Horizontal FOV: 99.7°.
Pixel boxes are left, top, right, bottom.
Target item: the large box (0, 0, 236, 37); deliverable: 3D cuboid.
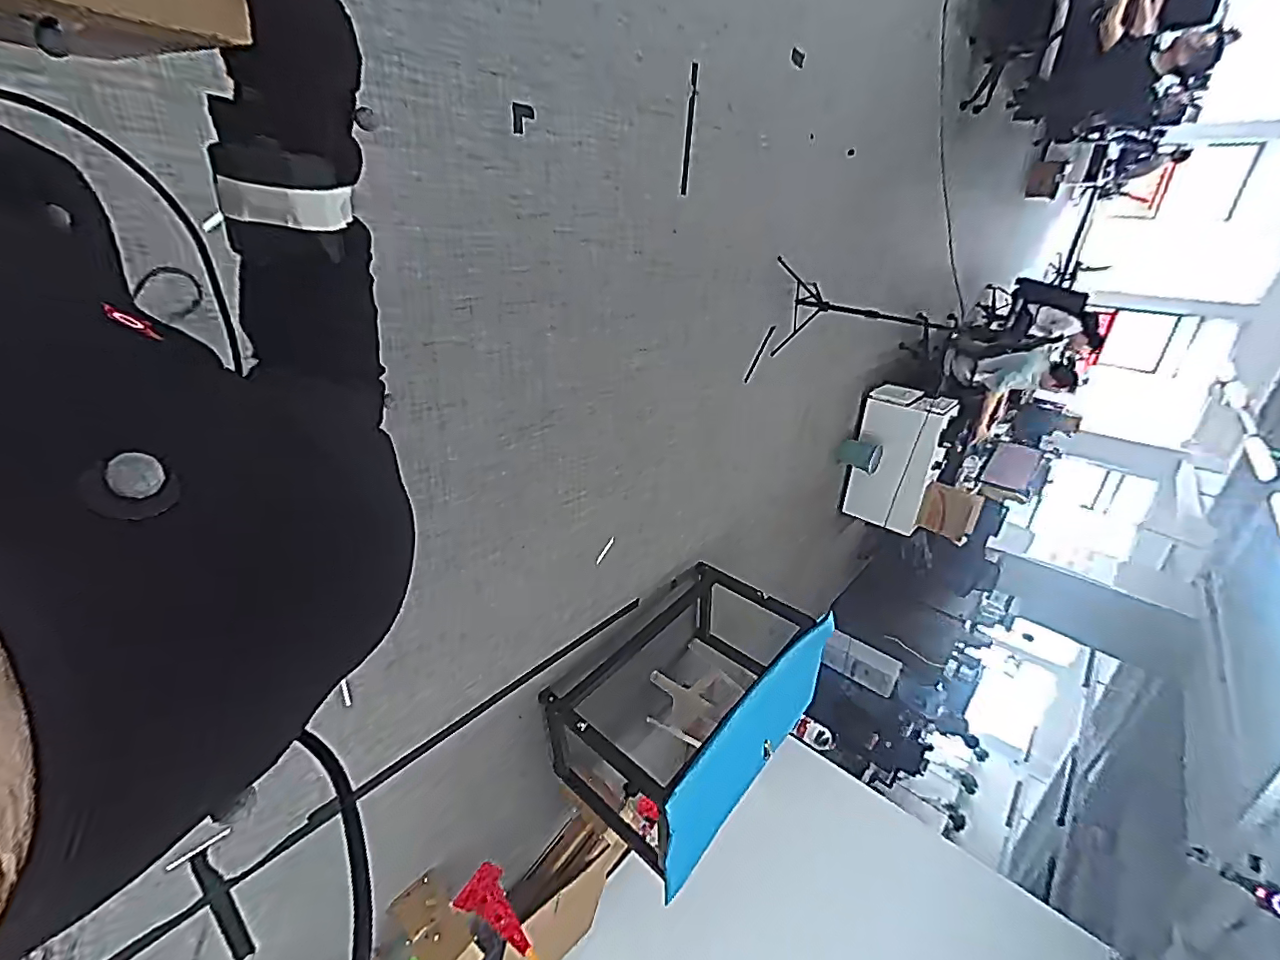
[{"bbox_3d":[-0.430,-0.363,0.151,0.408,0.320,0.320,-24,132,-44],"label":"large box"}]
